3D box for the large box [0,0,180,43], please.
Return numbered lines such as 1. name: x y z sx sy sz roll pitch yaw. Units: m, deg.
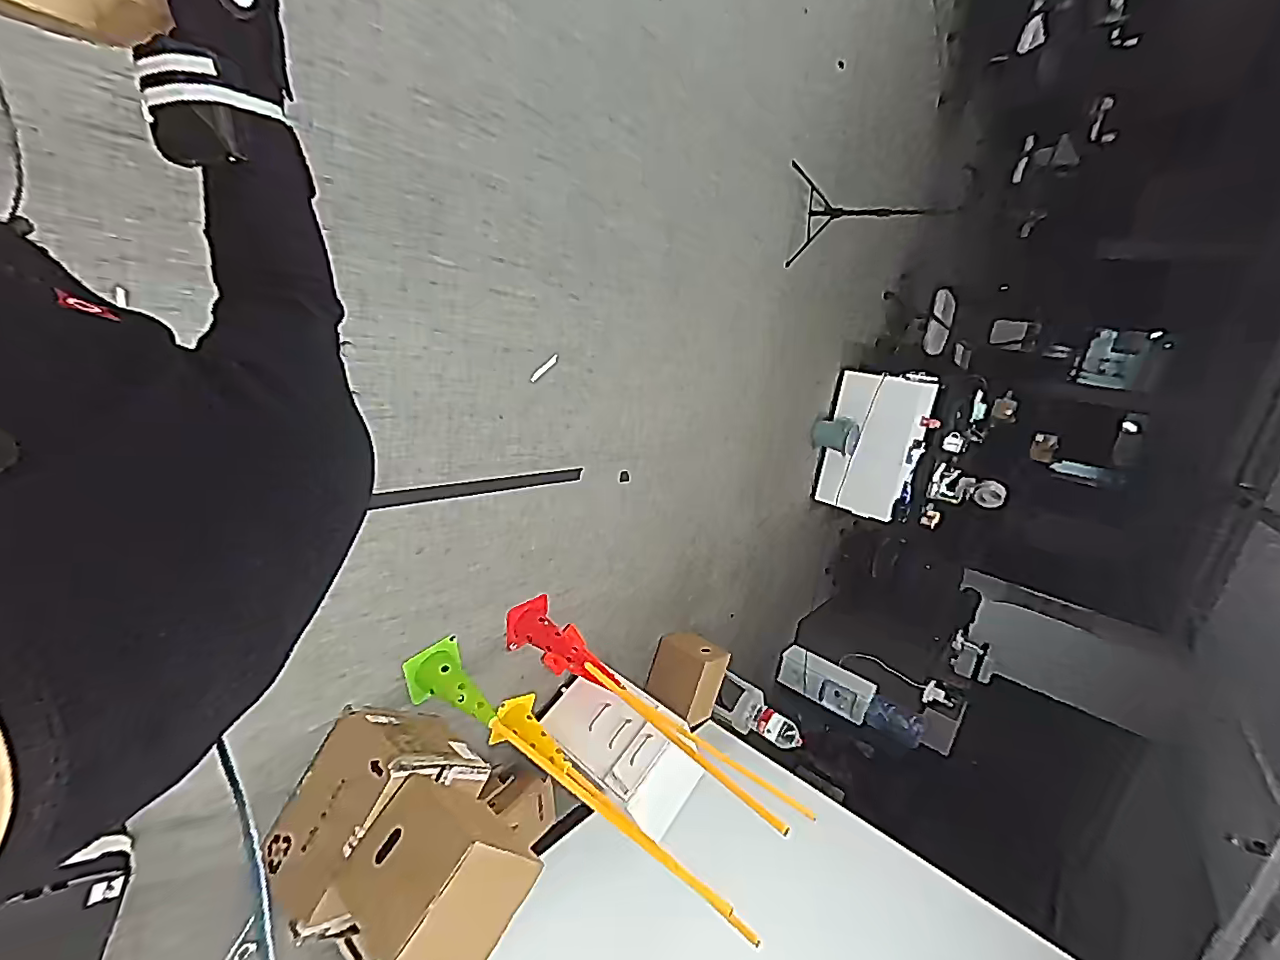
1. large box: -0.521 -0.477 0.245 0.408 0.320 0.320 -14 129 -52
